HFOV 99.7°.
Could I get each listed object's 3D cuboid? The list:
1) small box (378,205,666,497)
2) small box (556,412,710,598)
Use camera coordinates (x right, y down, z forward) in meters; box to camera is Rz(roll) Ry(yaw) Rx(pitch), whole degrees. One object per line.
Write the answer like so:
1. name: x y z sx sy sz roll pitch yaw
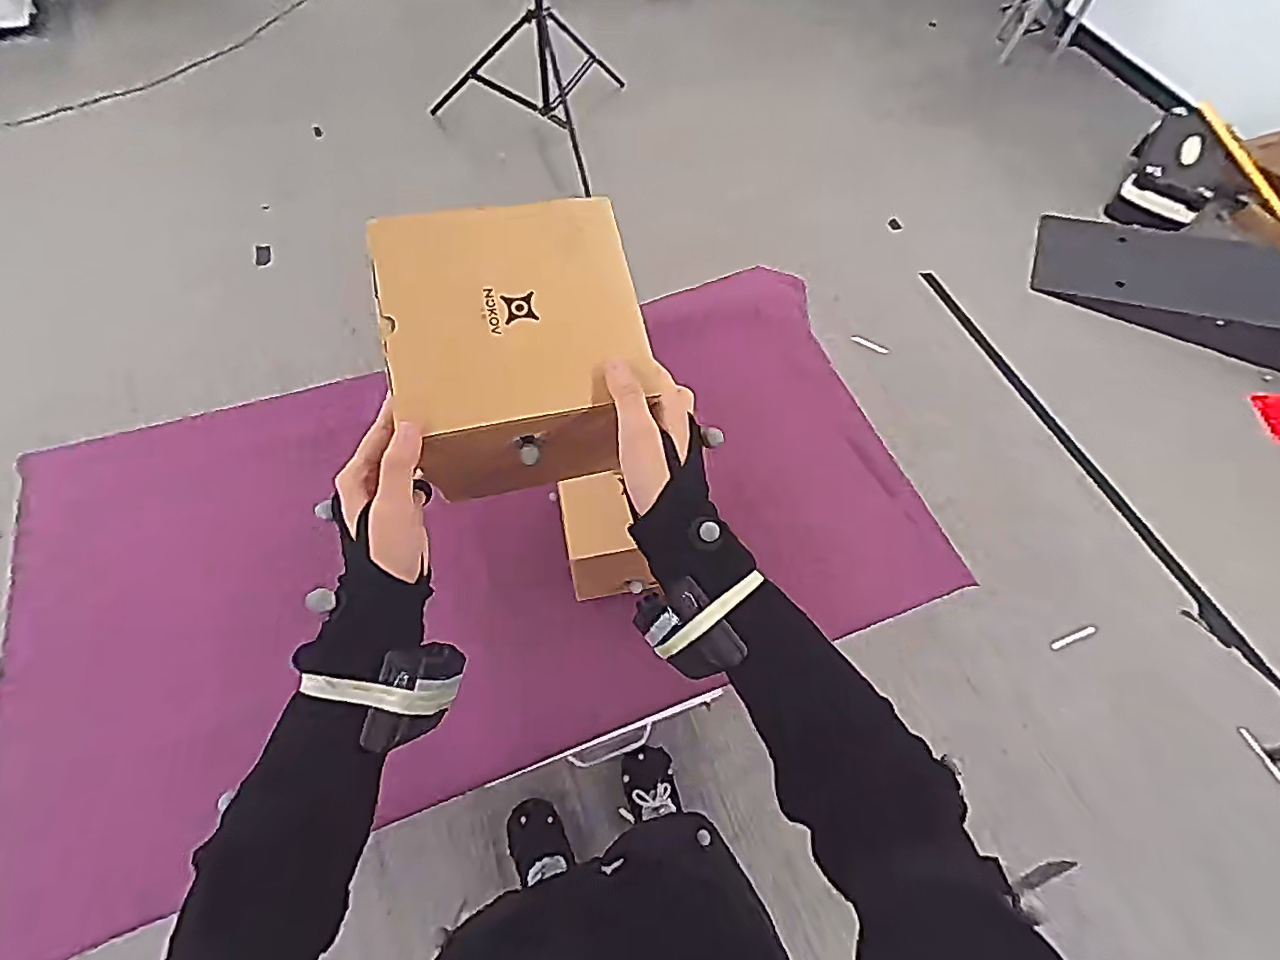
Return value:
1. small box: -0.093 -0.094 0.451 0.179 0.176 0.168 -11 77 -10
2. small box: -0.021 0.037 0.706 0.168 0.176 0.179 -9 64 -8
